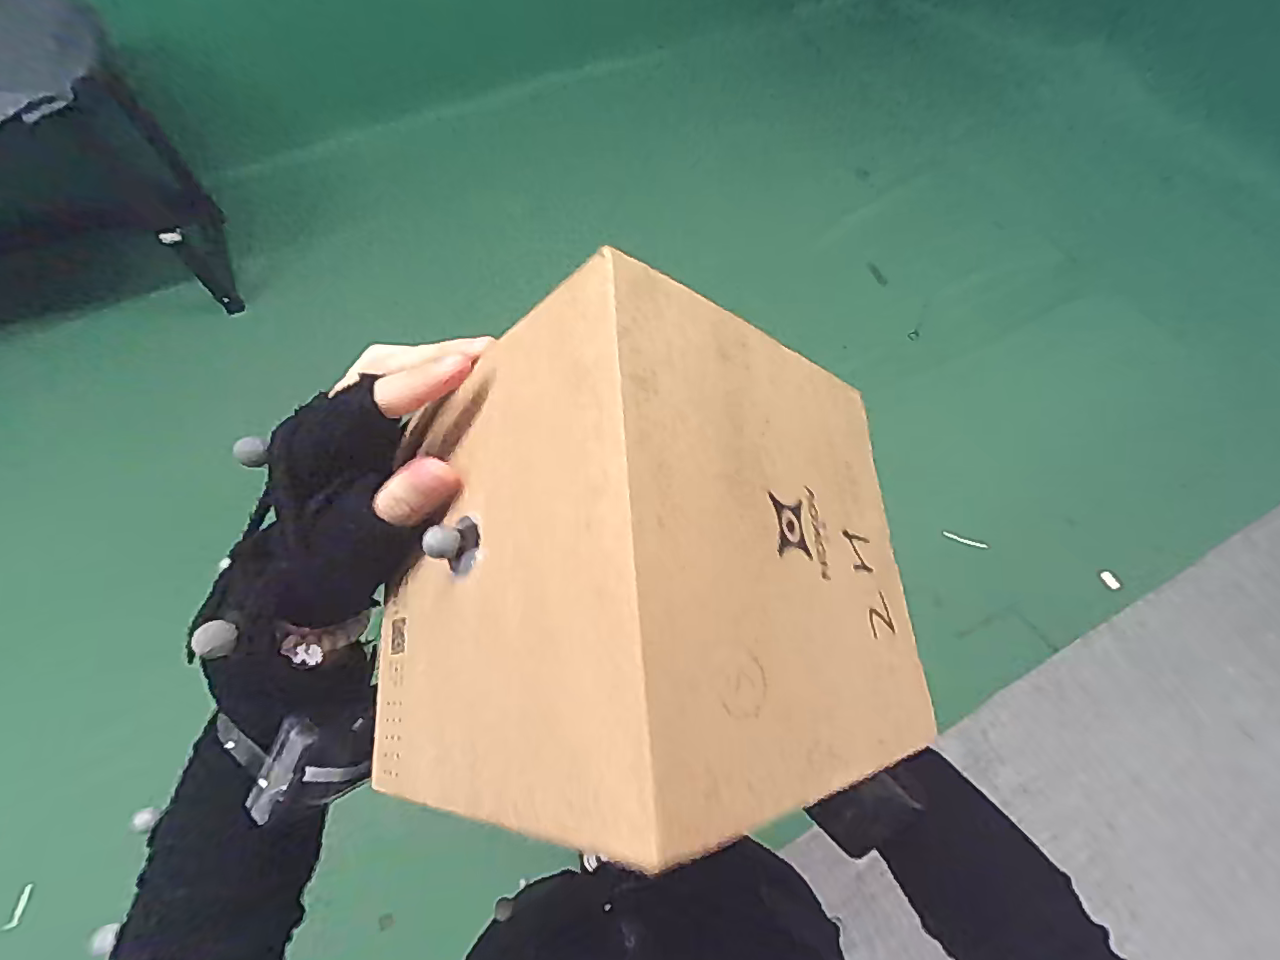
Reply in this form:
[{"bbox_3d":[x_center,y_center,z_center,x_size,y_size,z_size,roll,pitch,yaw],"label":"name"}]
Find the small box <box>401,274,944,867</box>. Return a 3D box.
[{"bbox_3d":[0.006,0.046,0.254,0.179,0.176,0.168,12,67,-42],"label":"small box"}]
